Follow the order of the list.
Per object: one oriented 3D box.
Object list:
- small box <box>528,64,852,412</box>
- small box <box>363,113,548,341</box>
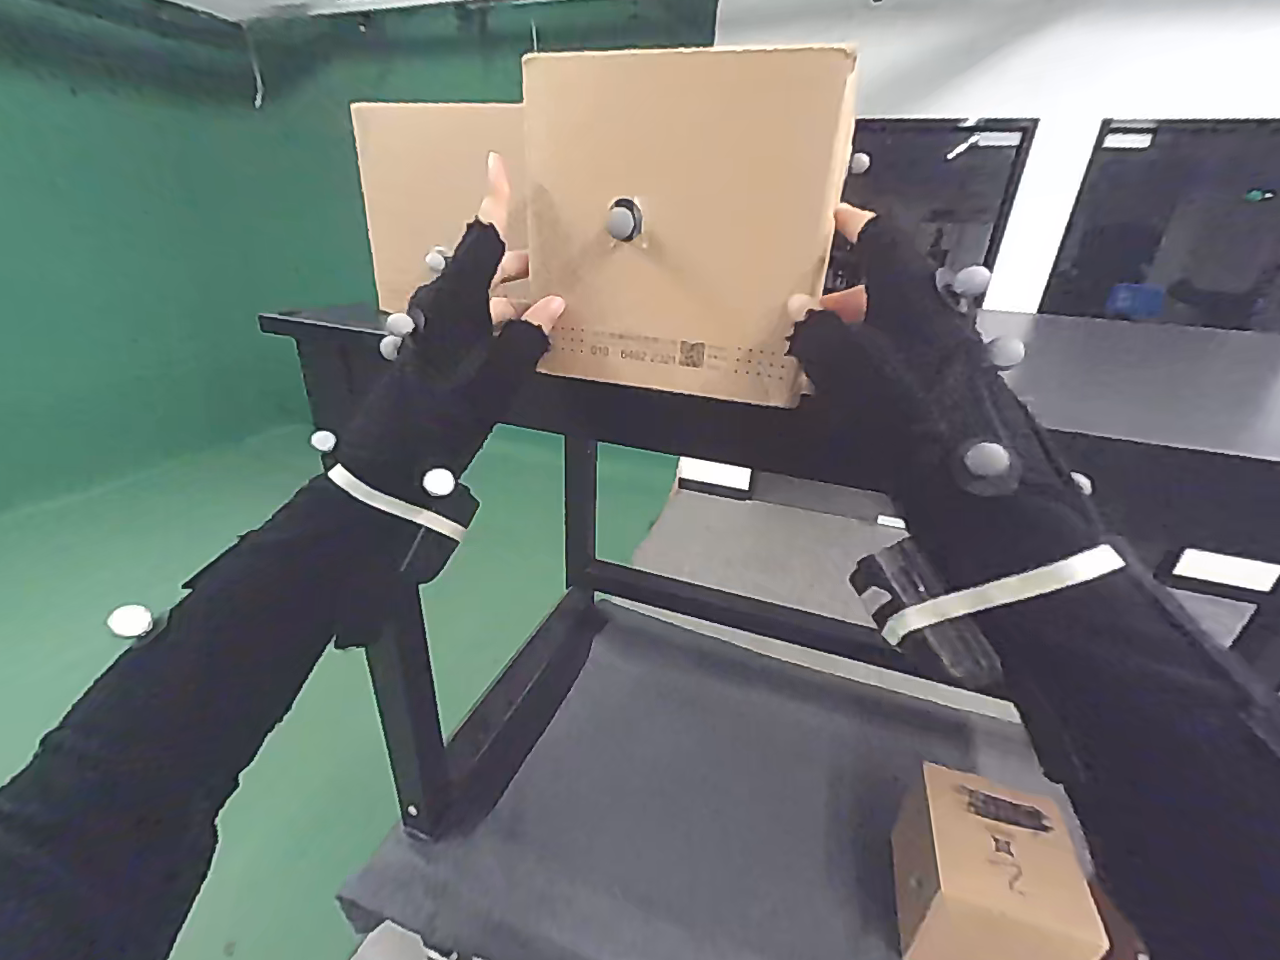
[{"bbox_3d":[0.042,-0.153,0.367,0.168,0.176,0.179,11,26,16],"label":"small box"},{"bbox_3d":[-0.133,-0.244,0.531,0.168,0.176,0.179,11,27,15],"label":"small box"}]
